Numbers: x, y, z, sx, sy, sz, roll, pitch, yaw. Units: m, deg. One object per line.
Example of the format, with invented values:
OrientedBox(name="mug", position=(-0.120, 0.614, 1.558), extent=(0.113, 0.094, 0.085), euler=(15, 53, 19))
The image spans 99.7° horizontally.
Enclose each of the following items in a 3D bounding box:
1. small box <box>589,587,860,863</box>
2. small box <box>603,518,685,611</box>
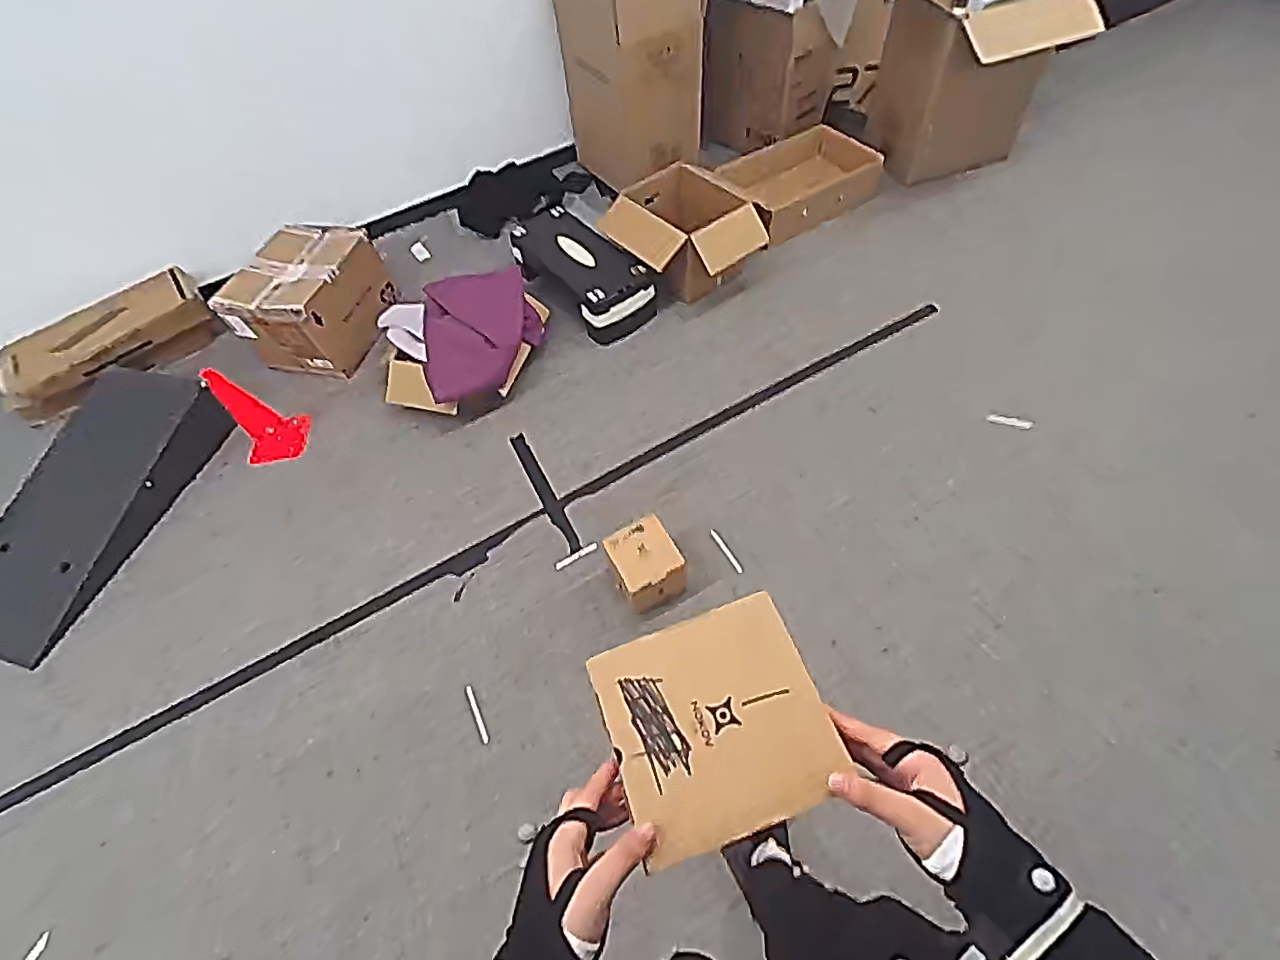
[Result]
OrientedBox(name="small box", position=(0.072, 0.229, 0.507), extent=(0.179, 0.176, 0.168), euler=(-21, 60, -3))
OrientedBox(name="small box", position=(0.017, 0.241, 1.487), extent=(0.168, 0.176, 0.179), euler=(-26, 59, -10))
